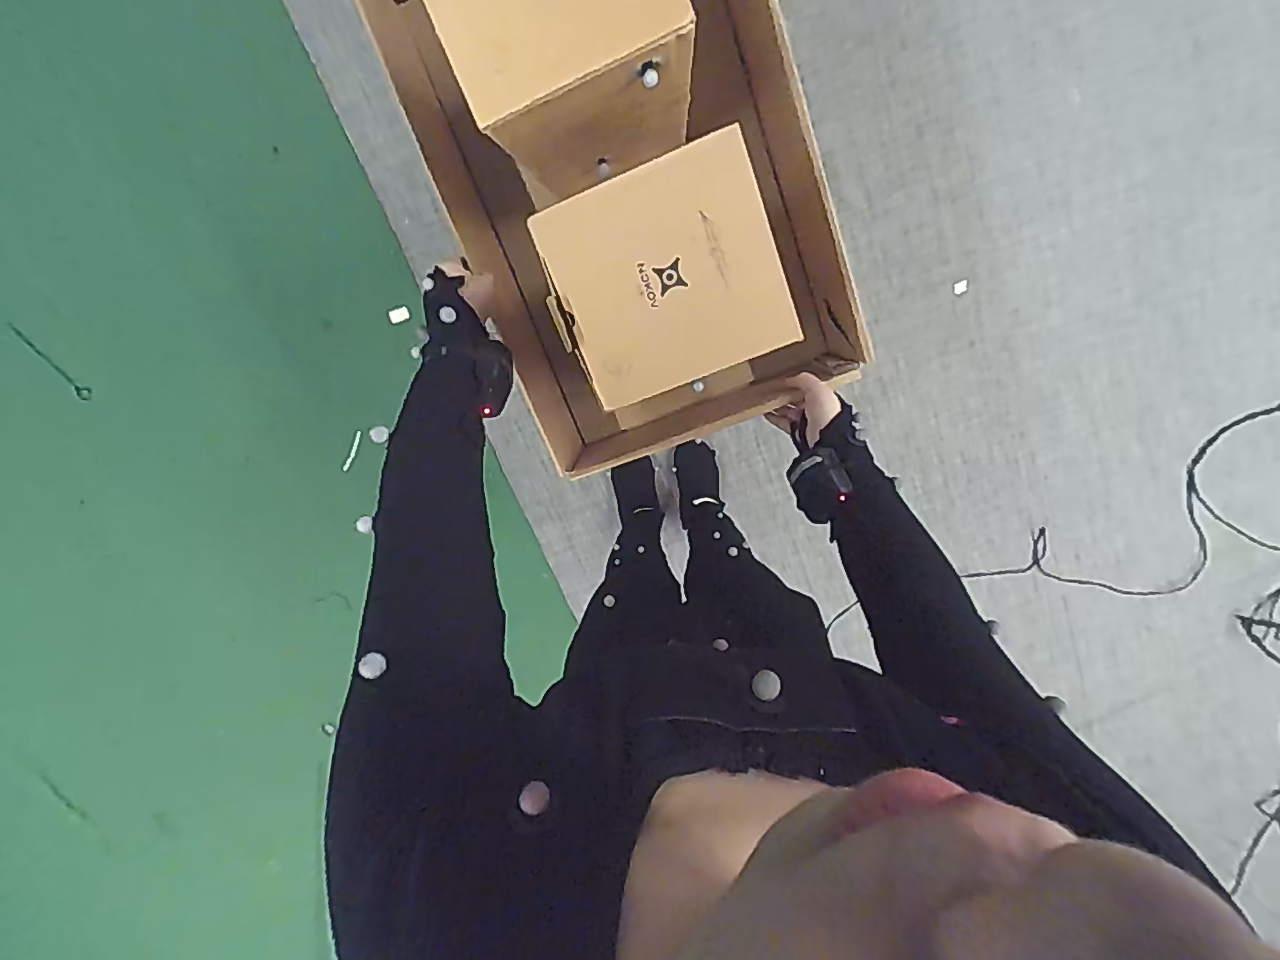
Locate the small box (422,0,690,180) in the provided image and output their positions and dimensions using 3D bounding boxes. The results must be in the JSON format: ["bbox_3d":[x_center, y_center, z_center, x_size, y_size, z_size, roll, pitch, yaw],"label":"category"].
[{"bbox_3d":[-0.067,-0.383,0.454,0.179,0.176,0.168,-21,105,8],"label":"small box"}]

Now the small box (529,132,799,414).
[{"bbox_3d":[0.025,-0.176,0.505,0.179,0.176,0.168,-21,103,8],"label":"small box"}]
